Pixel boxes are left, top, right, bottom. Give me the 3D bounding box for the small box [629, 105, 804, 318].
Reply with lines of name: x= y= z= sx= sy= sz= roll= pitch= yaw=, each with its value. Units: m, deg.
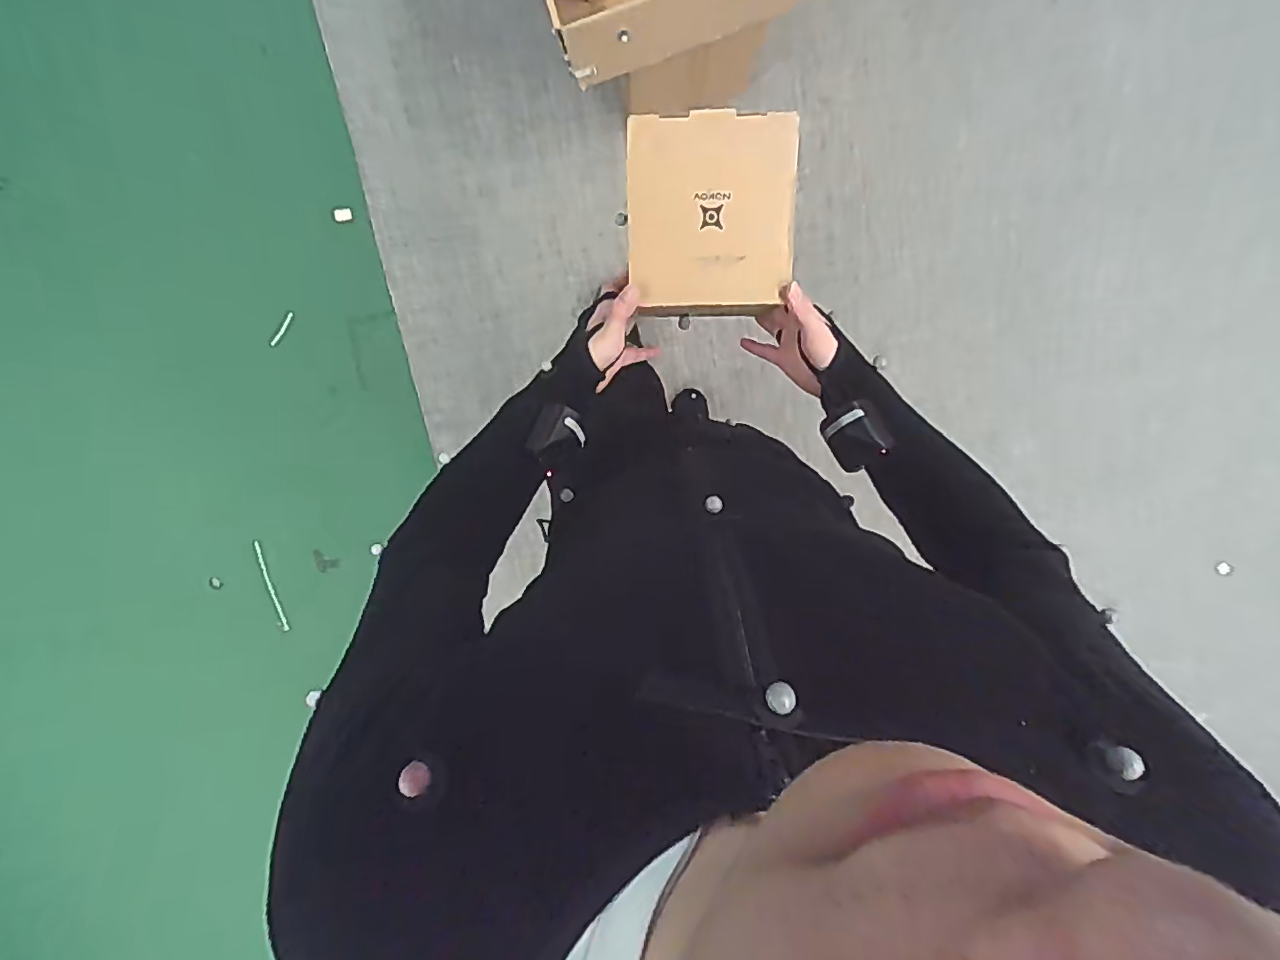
small box: x=0.072 y=-0.277 z=0.595 sx=0.168 sy=0.176 sz=0.179 roll=0 pitch=103 yaw=1
